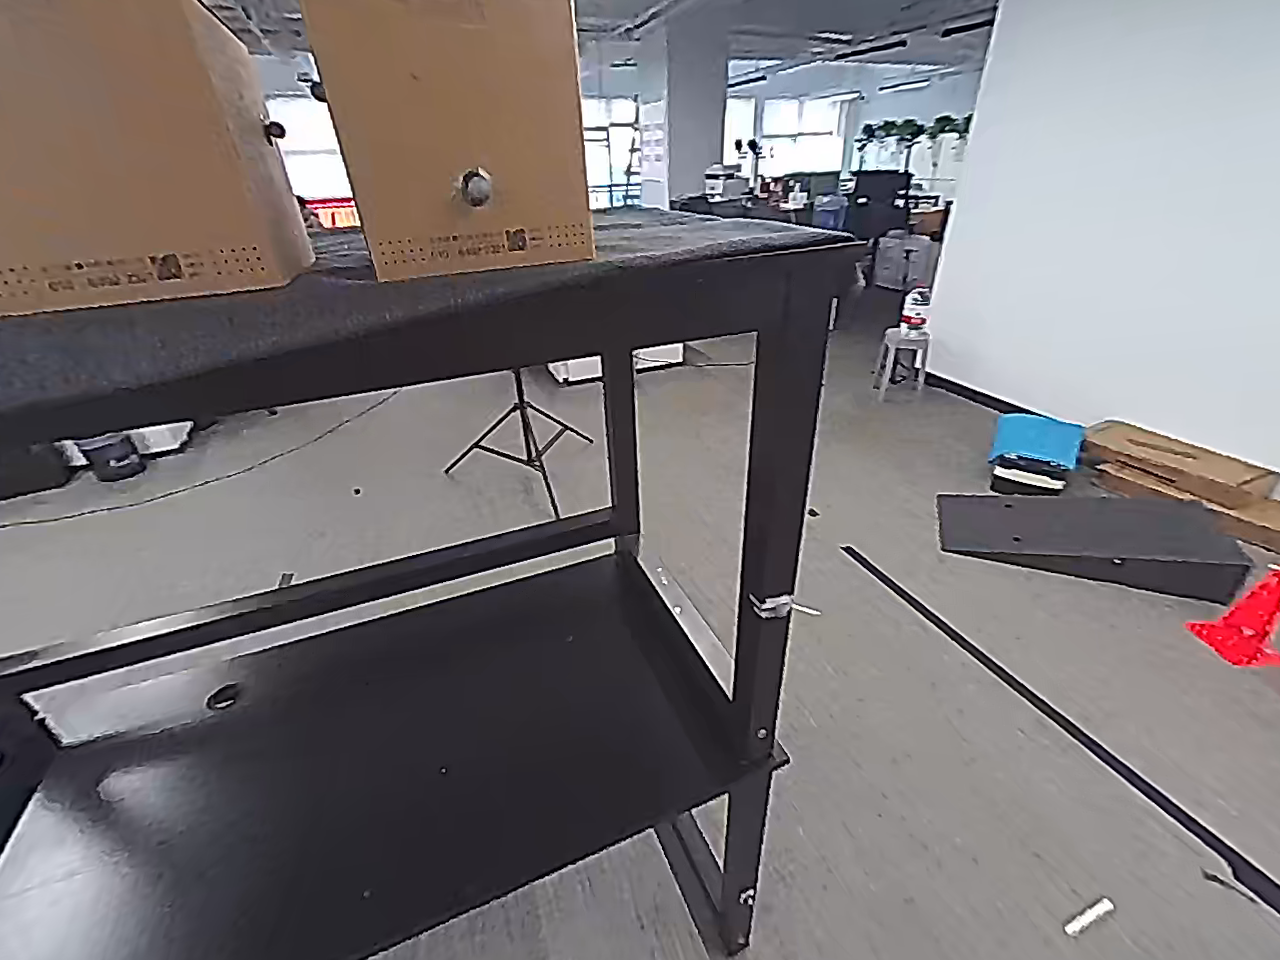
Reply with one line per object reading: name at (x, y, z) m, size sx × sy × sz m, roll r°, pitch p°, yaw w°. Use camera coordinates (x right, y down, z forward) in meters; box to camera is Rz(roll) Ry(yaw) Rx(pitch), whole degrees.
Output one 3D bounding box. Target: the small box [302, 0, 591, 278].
small box at (-0.146, -0.267, 0.441) m, size 0.168 × 0.176 × 0.179 m, roll -14°, pitch 31°, yaw -16°
